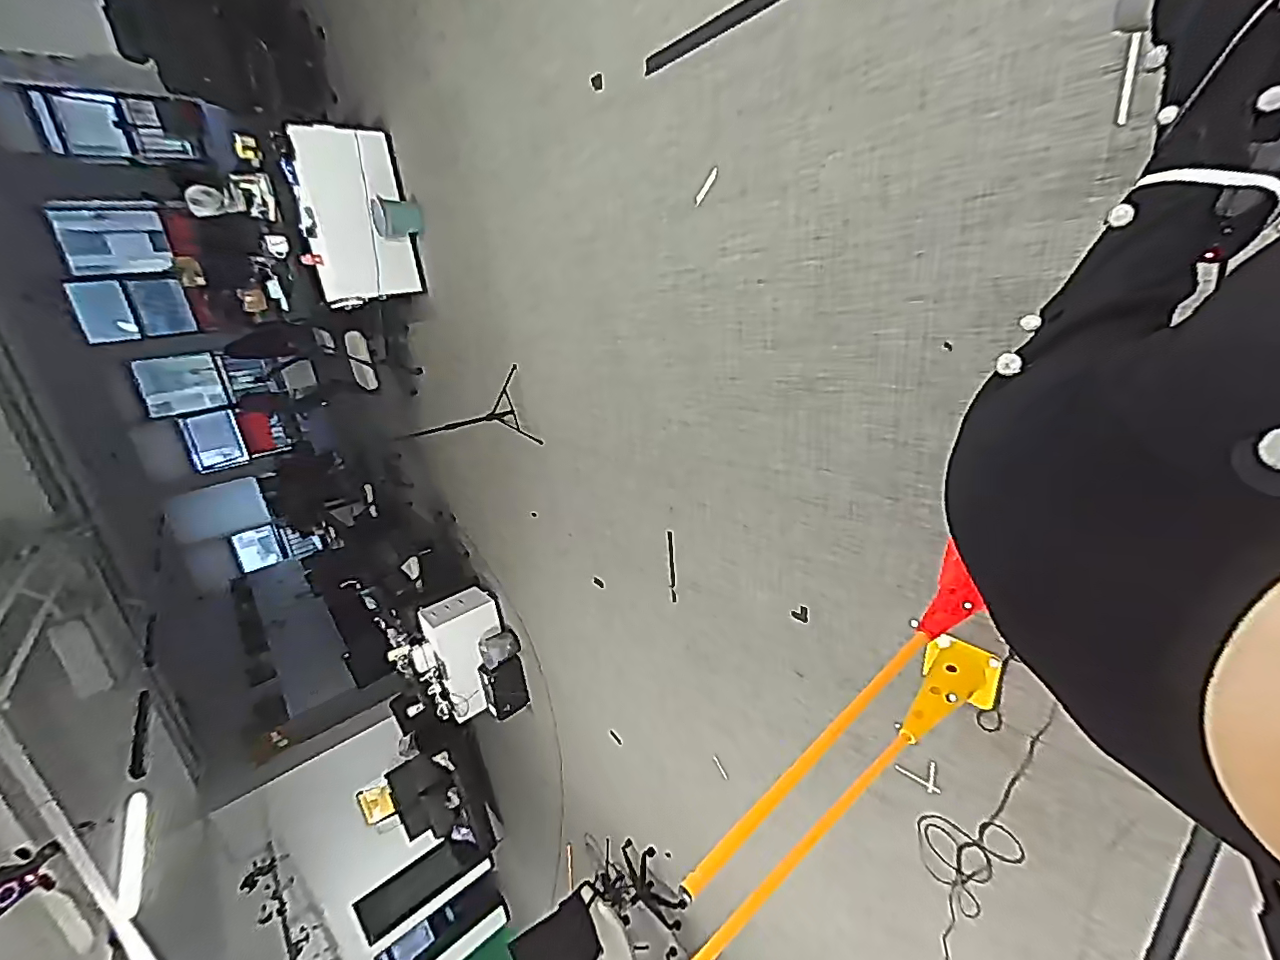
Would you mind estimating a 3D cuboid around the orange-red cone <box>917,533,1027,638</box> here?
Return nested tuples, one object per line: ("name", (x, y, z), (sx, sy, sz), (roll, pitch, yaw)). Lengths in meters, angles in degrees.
("orange-red cone", (0.809, 0.308, 1.392), (0.198, 0.360, 0.199), (25, 125, 43))
